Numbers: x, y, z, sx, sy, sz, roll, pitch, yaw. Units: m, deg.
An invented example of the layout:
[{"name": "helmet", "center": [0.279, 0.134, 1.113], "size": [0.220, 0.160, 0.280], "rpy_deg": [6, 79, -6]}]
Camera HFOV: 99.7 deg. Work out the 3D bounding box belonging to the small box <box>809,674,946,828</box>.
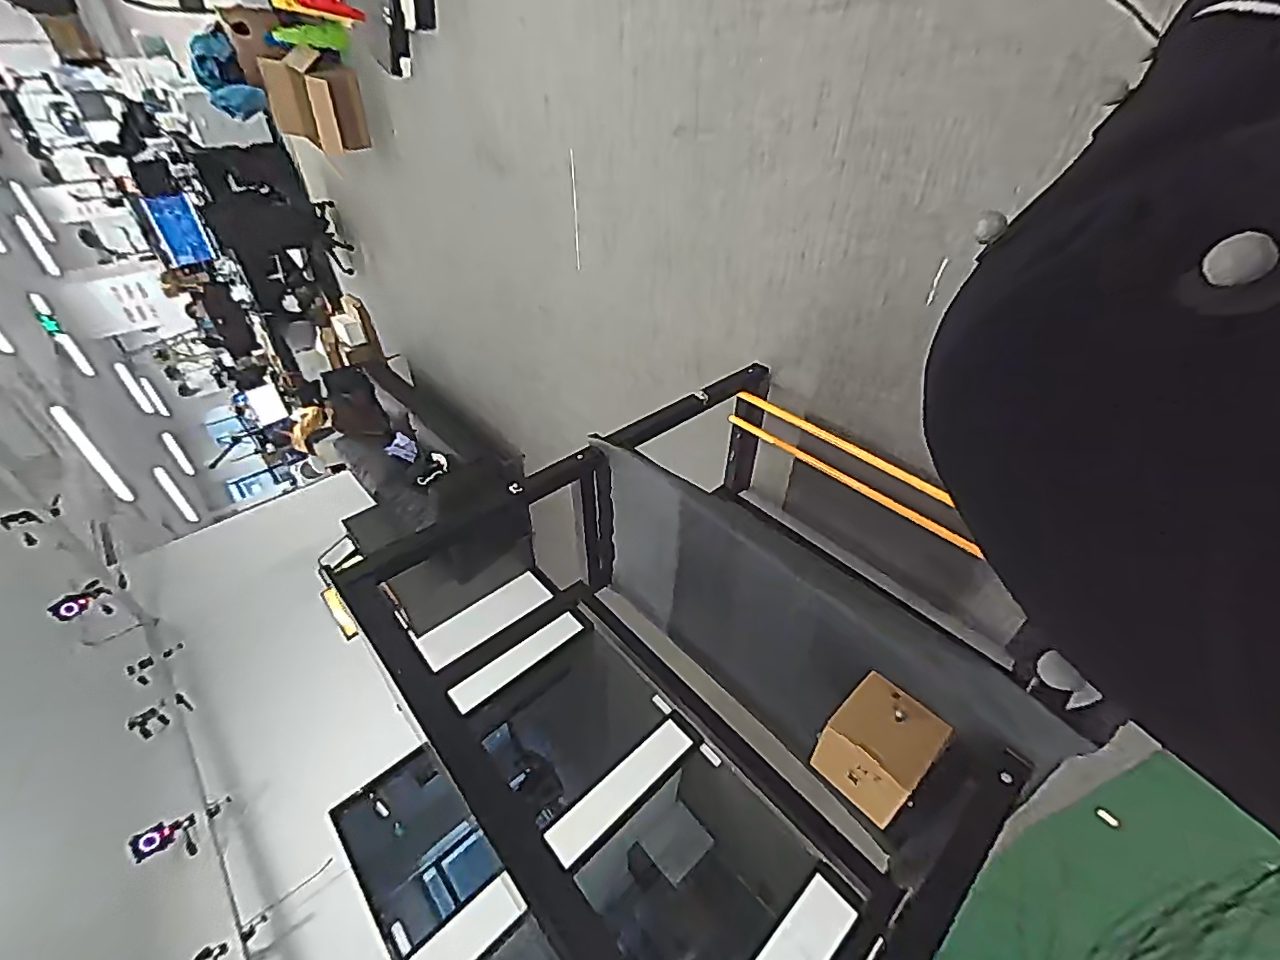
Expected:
[{"name": "small box", "center": [0.460, 0.521, 1.054], "size": [0.168, 0.176, 0.179], "rpy_deg": [34, 140, 35]}]
